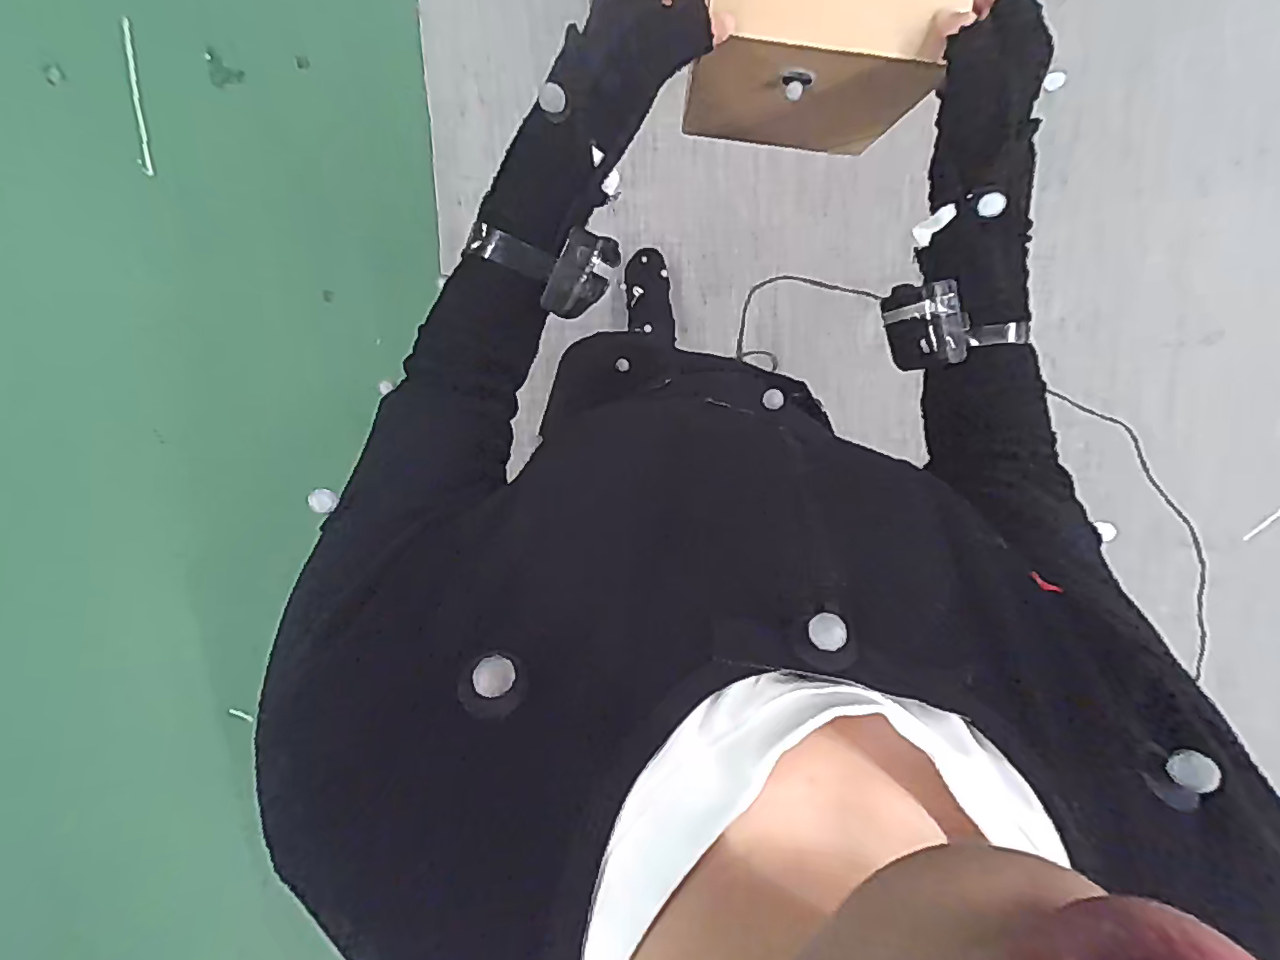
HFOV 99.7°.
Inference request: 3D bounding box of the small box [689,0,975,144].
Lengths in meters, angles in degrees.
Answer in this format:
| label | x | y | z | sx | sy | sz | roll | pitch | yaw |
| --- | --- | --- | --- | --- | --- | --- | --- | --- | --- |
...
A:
| label | x | y | z | sx | sy | sz | roll | pitch | yaw |
| --- | --- | --- | --- | --- | --- | --- | --- | --- | --- |
| small box | 0.138 | -0.386 | 0.418 | 0.179 | 0.176 | 0.168 | 6 | 103 | -3 |
